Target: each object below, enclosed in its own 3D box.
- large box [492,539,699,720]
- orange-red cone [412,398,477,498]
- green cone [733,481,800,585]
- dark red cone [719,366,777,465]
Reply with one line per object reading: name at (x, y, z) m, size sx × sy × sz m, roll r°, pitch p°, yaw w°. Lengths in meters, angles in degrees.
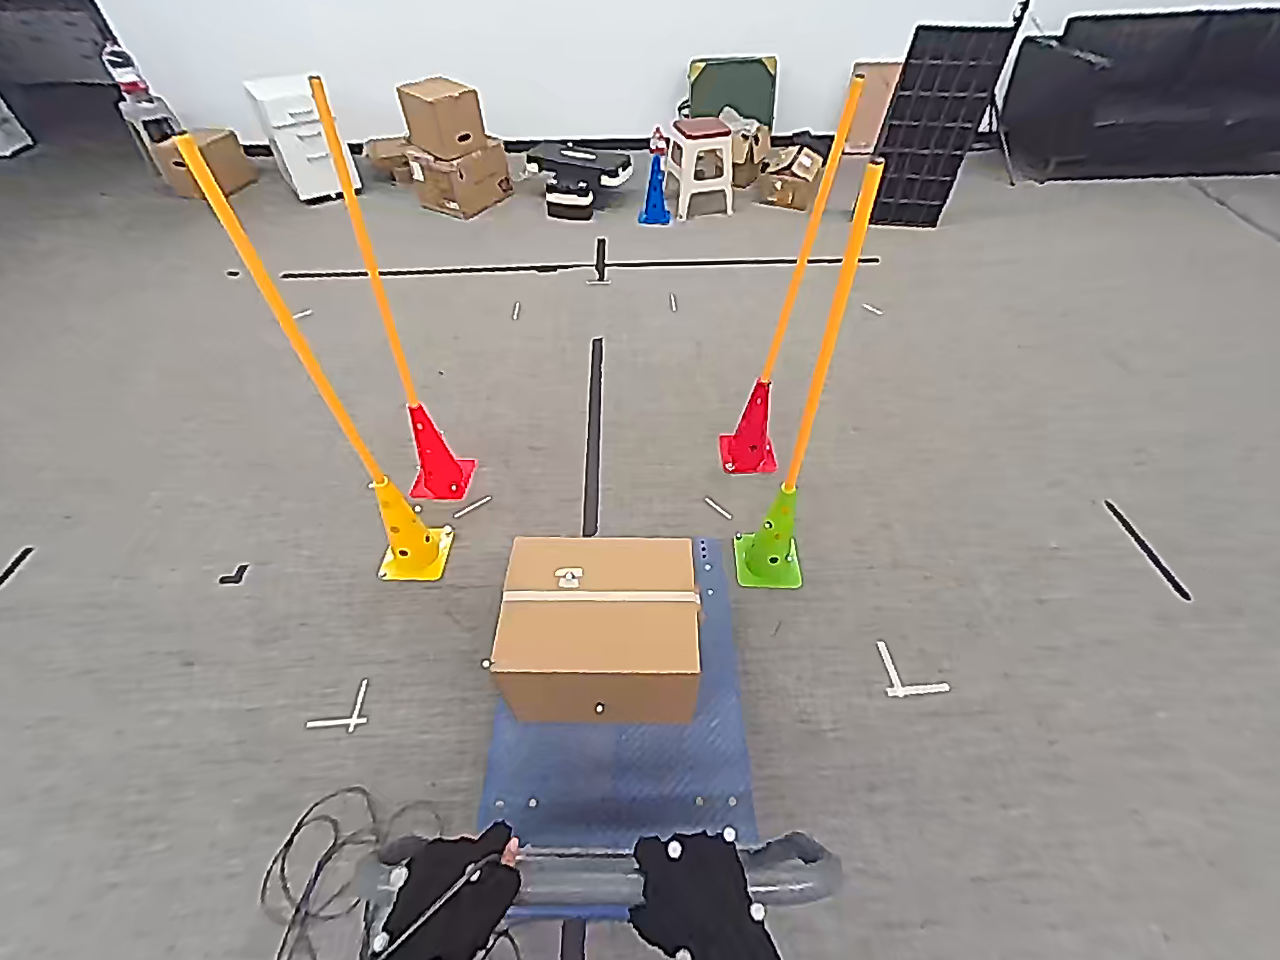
large box at (-0.083, 0.347, 1.241) m, size 0.408 × 0.320 × 0.320 m, roll 0°, pitch 48°, yaw 1°
orange-red cone at (-0.712, -0.132, 1.859) m, size 0.198 × 0.360 × 0.199 m, roll 5°, pitch 47°, yaw 3°
green cone at (0.411, 0.138, 1.622) m, size 0.202 × 0.368 × 0.200 m, roll 2°, pitch 48°, yaw 0°
dark red cone at (0.415, -0.236, 1.932) m, size 0.201 × 0.394 × 0.202 m, roll 0°, pitch 49°, yaw -3°
